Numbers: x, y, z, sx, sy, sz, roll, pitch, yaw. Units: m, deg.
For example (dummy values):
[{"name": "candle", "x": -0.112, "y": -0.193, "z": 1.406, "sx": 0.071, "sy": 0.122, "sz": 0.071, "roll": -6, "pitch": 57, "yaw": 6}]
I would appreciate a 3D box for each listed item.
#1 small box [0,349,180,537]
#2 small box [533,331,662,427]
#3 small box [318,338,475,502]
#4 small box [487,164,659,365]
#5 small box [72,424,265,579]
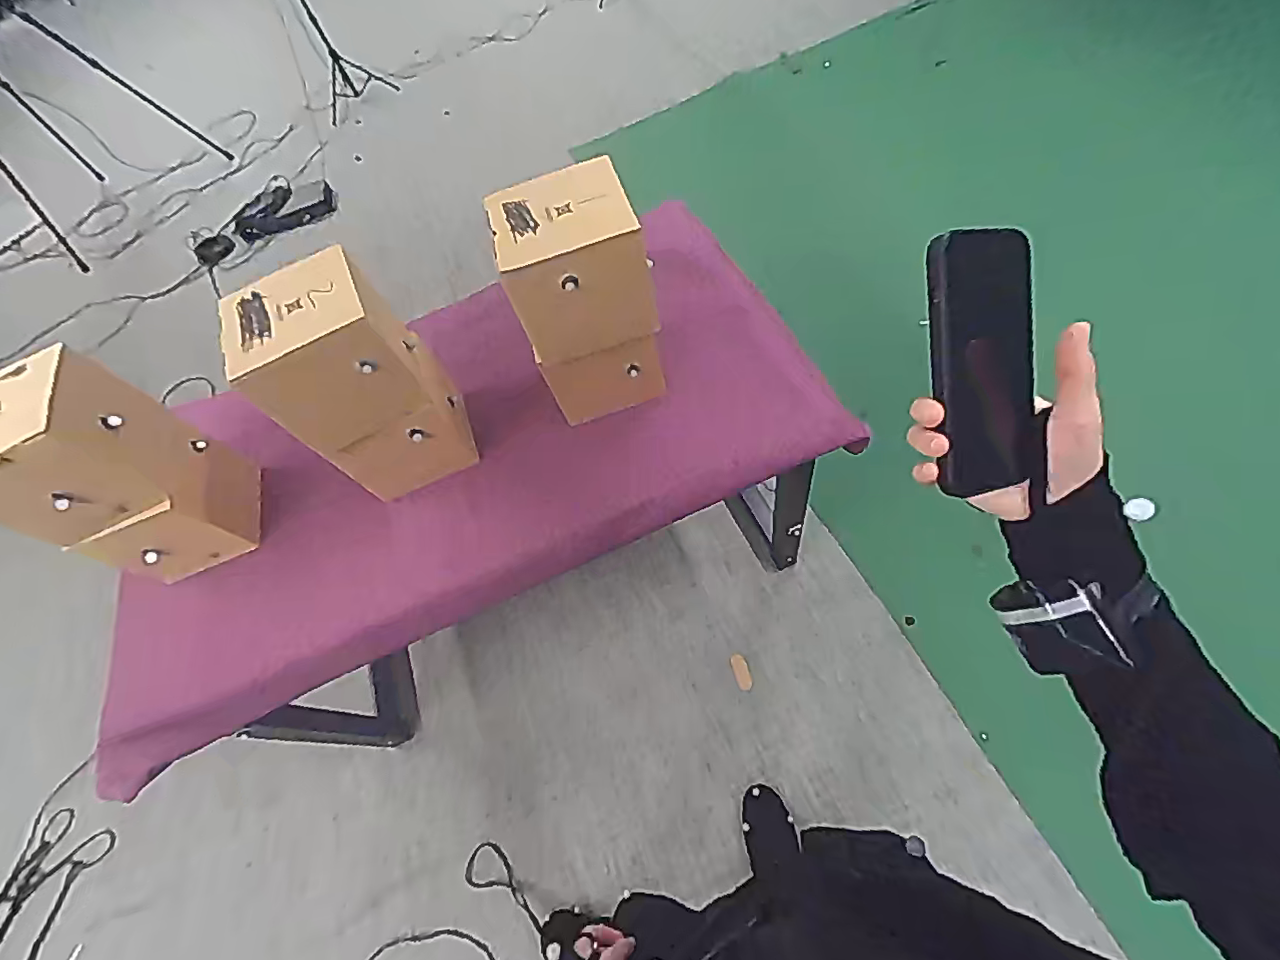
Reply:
[{"name": "small box", "x": -0.787, "y": -0.040, "z": 0.750, "sx": 0.168, "sy": 0.176, "sz": 0.179, "roll": -27, "pitch": 60, "yaw": -4}, {"name": "small box", "x": -0.069, "y": -0.215, "z": 0.887, "sx": 0.179, "sy": 0.176, "sz": 0.168, "roll": -18, "pitch": 59, "yaw": 3}, {"name": "small box", "x": -0.388, "y": -0.092, "z": 0.884, "sx": 0.179, "sy": 0.176, "sz": 0.168, "roll": -23, "pitch": 59, "yaw": -1}, {"name": "small box", "x": -0.086, "y": -0.285, "z": 0.739, "sx": 0.179, "sy": 0.176, "sz": 0.168, "roll": -18, "pitch": 59, "yaw": 1}, {"name": "small box", "x": -0.753, "y": 0.045, "z": 0.887, "sx": 0.168, "sy": 0.176, "sz": 0.179, "roll": -23, "pitch": 59, "yaw": -1}]
